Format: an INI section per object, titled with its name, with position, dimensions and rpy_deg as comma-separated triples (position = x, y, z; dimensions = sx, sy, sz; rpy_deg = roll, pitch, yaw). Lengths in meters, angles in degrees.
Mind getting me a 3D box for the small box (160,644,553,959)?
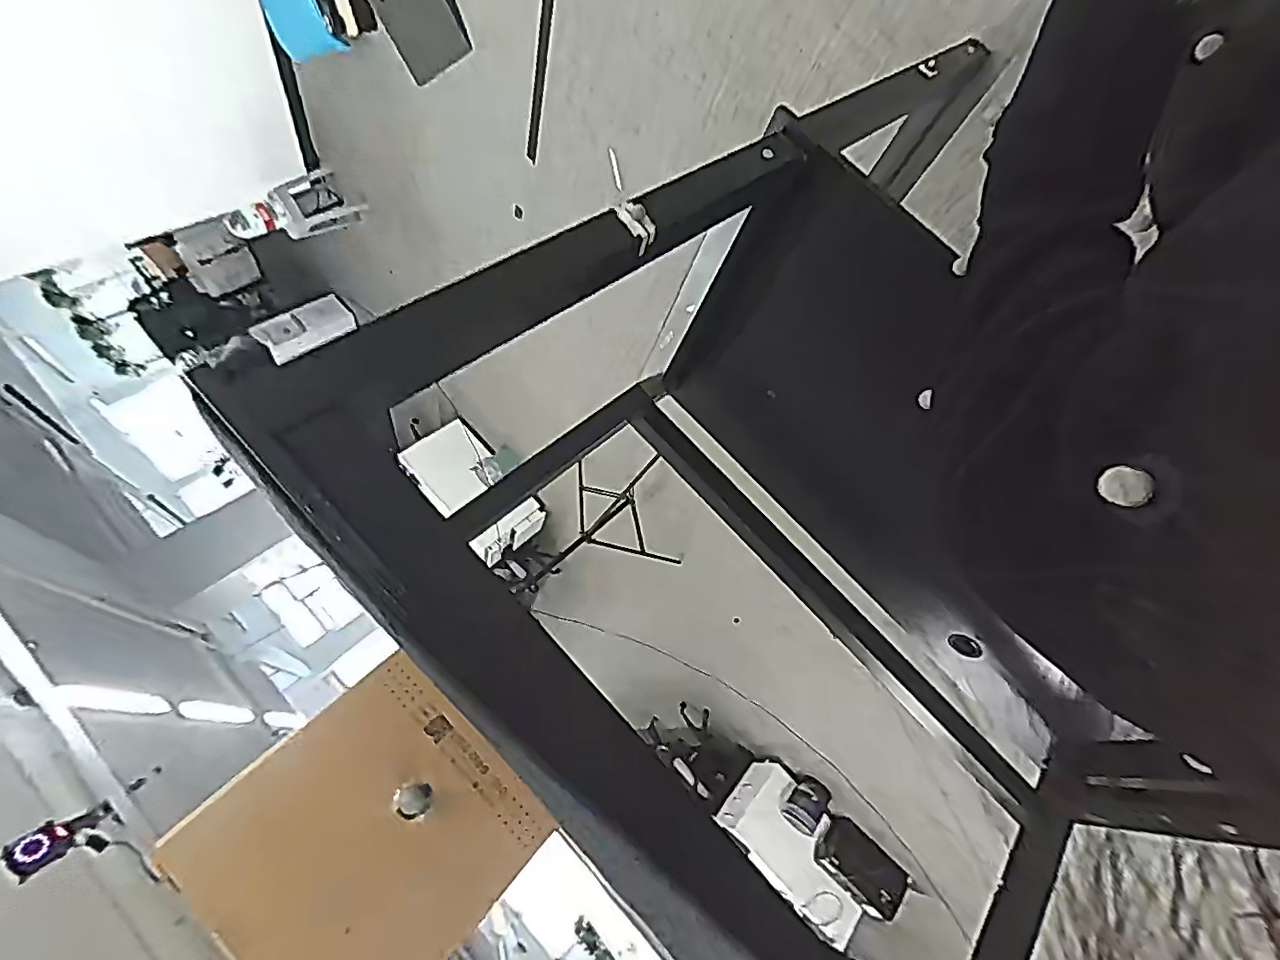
[small box]
position = -0.186, 0.249, 0.410
dimensions = 0.168, 0.176, 0.179
rpy_deg = 46, 152, 6
